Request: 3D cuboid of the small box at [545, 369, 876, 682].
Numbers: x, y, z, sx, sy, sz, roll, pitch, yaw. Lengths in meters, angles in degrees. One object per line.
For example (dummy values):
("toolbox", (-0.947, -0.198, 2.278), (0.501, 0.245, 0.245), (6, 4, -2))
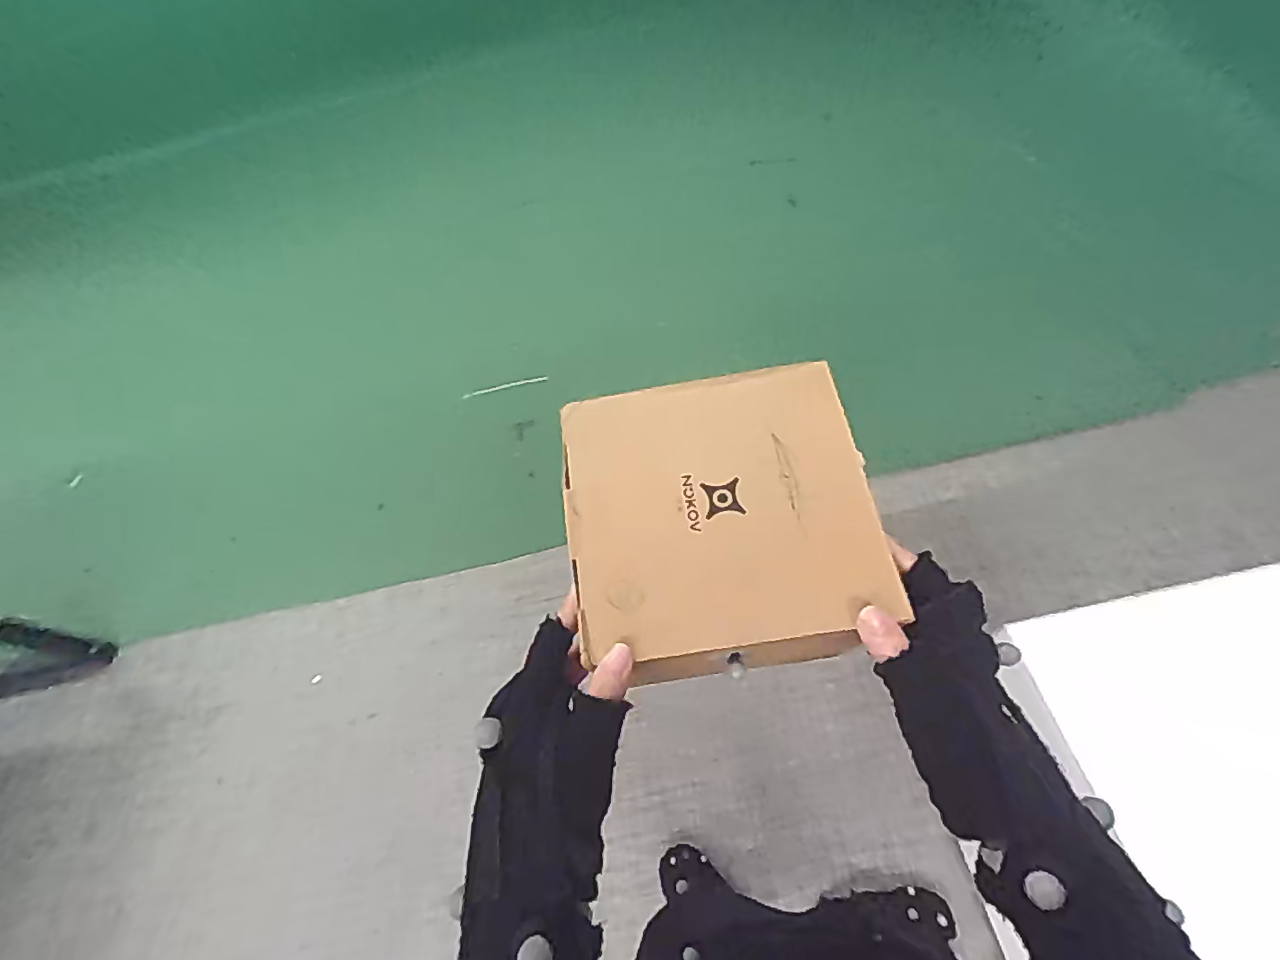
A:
("small box", (0.040, 0.046, 0.398), (0.179, 0.176, 0.168), (-10, 65, 1))
